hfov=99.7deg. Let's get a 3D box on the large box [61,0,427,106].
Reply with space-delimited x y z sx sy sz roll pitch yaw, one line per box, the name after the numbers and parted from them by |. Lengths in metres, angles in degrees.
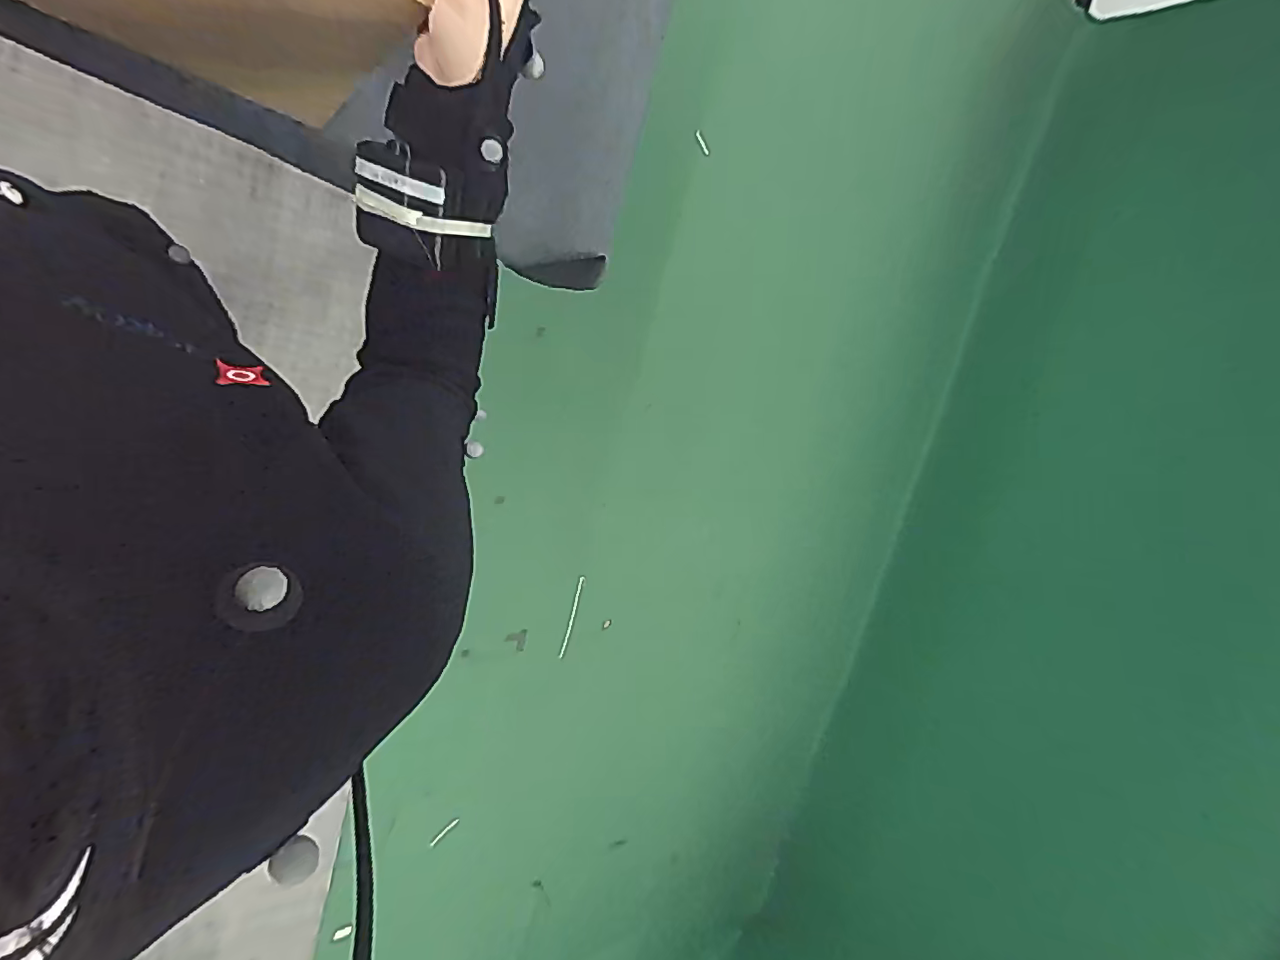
-0.321 -0.457 0.242 0.408 0.320 0.320 3 105 -43 | large box
